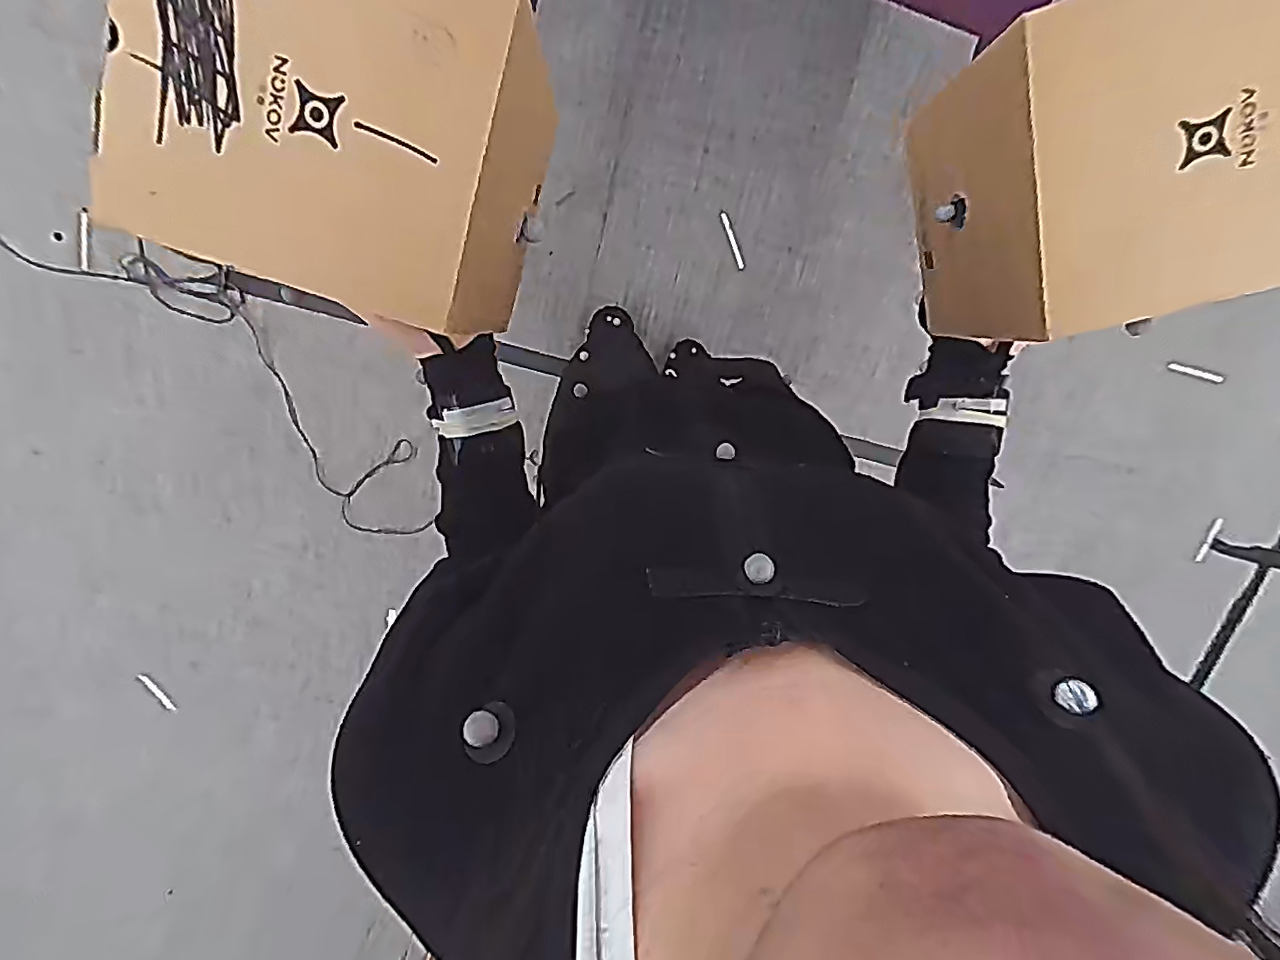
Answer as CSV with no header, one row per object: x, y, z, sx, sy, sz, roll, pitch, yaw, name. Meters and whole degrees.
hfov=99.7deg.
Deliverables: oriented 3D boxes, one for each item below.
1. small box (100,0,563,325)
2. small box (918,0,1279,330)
-0.157,-0.200,0.330,0.179,0.176,0.168,17,105,-8,small box
0.301,-0.199,0.351,0.179,0.176,0.168,-13,105,9,small box
